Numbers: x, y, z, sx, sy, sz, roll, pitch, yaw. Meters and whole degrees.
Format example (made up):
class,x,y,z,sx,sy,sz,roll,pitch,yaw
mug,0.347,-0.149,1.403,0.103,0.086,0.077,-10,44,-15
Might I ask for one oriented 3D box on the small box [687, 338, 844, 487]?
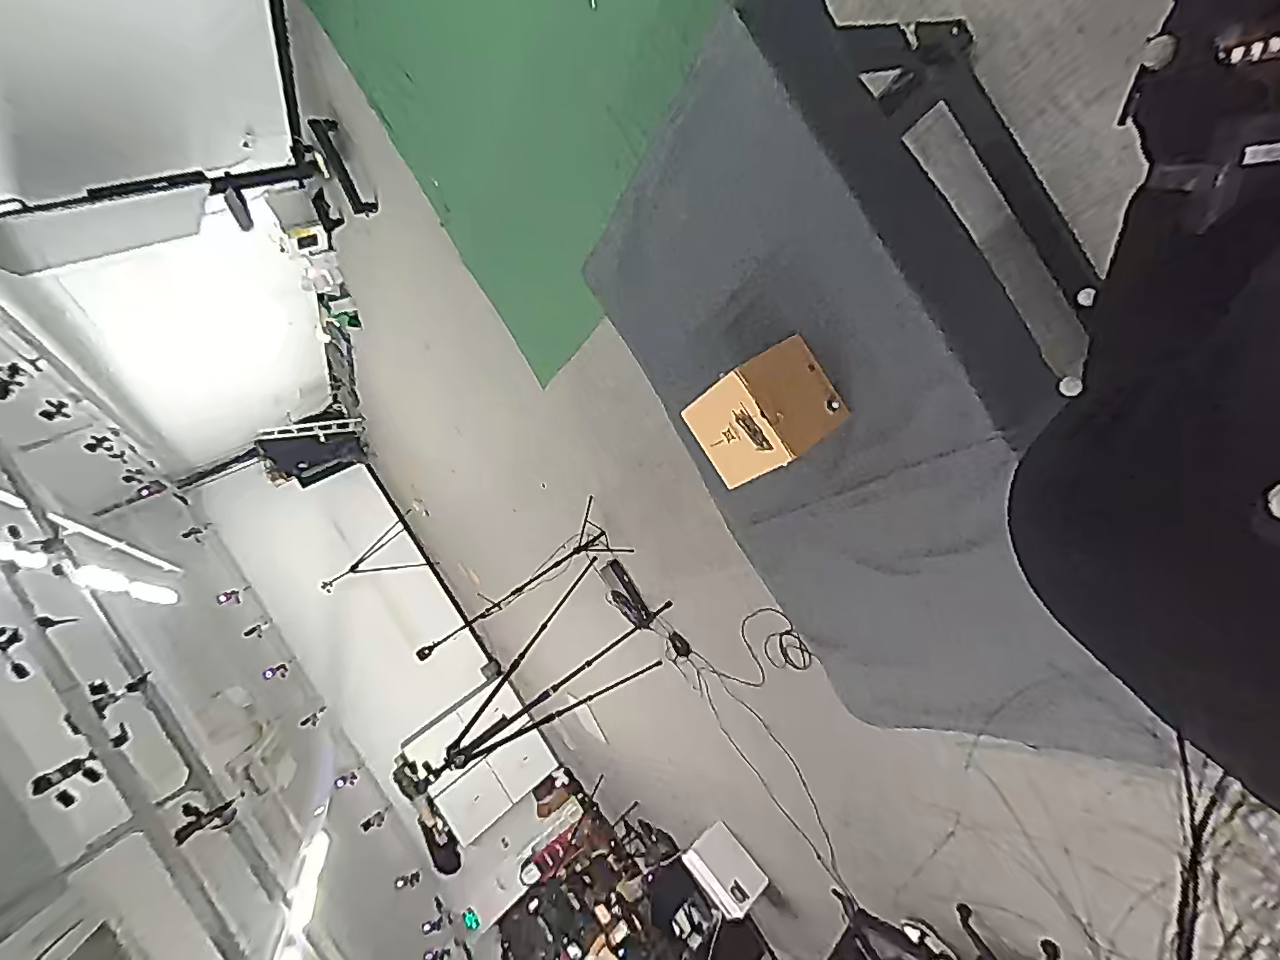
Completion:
class,x,y,z,sx,sy,sz,roll,pitch,yaw
small box,0.221,-0.116,0.932,0.168,0.176,0.179,57,151,1
